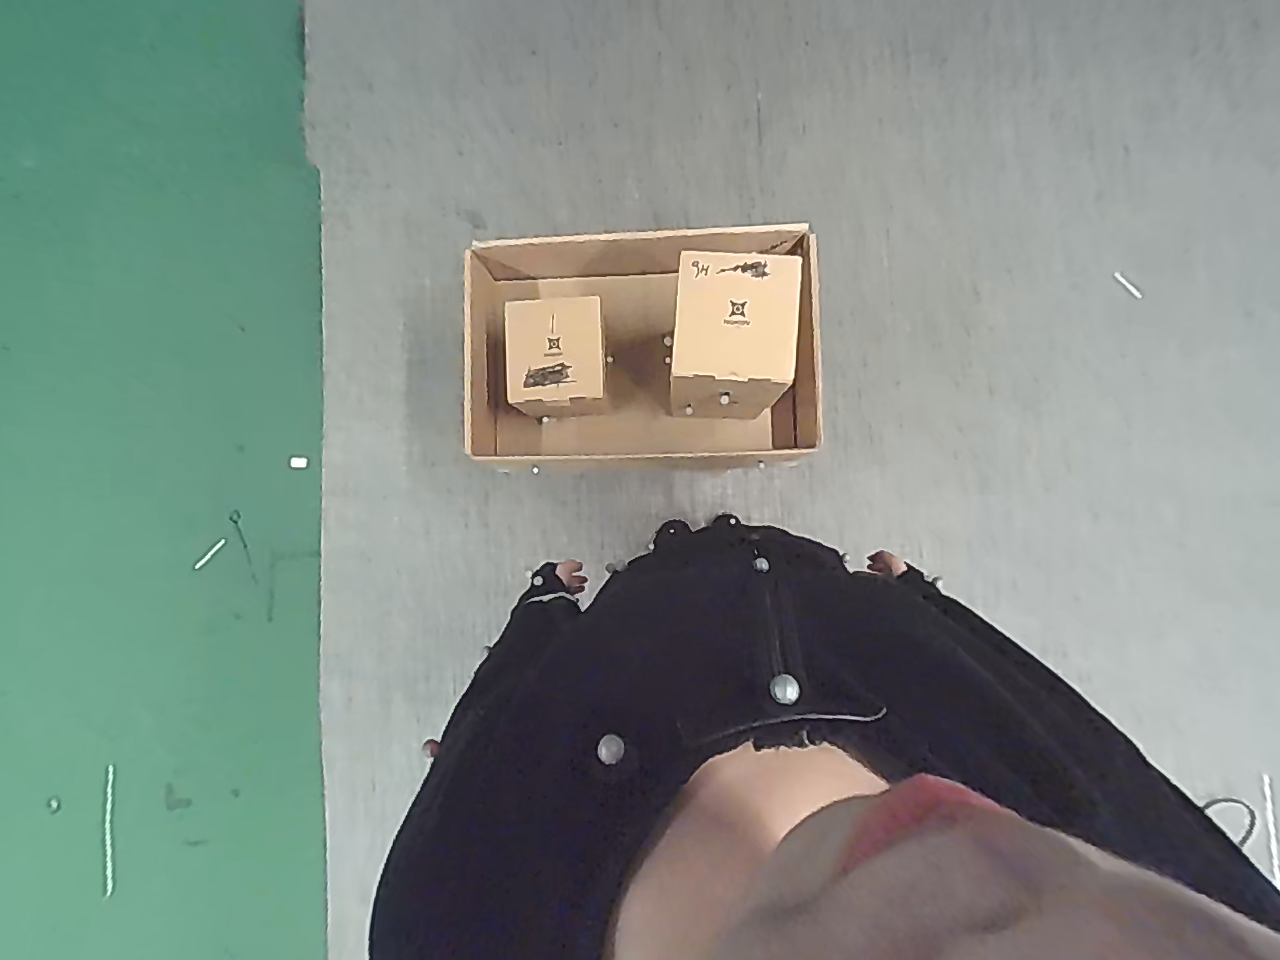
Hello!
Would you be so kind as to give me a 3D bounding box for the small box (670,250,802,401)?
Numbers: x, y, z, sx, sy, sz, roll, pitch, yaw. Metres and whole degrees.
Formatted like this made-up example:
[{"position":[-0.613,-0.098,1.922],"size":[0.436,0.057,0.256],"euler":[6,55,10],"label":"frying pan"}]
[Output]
[{"position":[0.136,-0.219,0.807],"size":[0.168,0.176,0.179],"euler":[4,88,4],"label":"small box"}]
